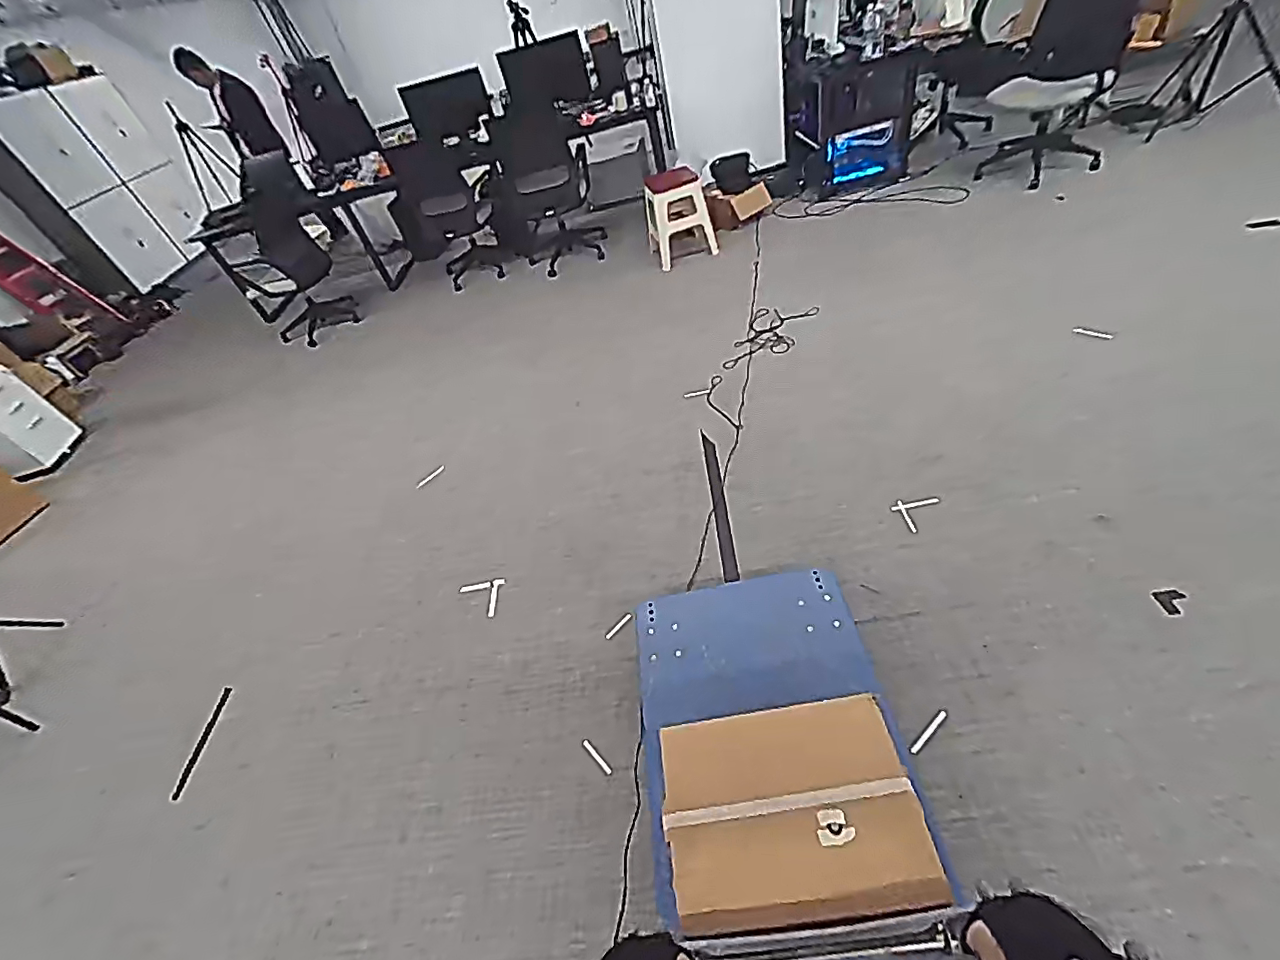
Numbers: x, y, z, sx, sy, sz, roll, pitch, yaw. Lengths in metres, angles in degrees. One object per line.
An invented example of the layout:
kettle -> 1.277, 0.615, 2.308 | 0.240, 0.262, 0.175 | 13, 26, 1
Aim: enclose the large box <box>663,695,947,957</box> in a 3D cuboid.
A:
large box -> 0.279, 0.653, 1.016 | 0.408, 0.320, 0.320 | -12, 44, 5
